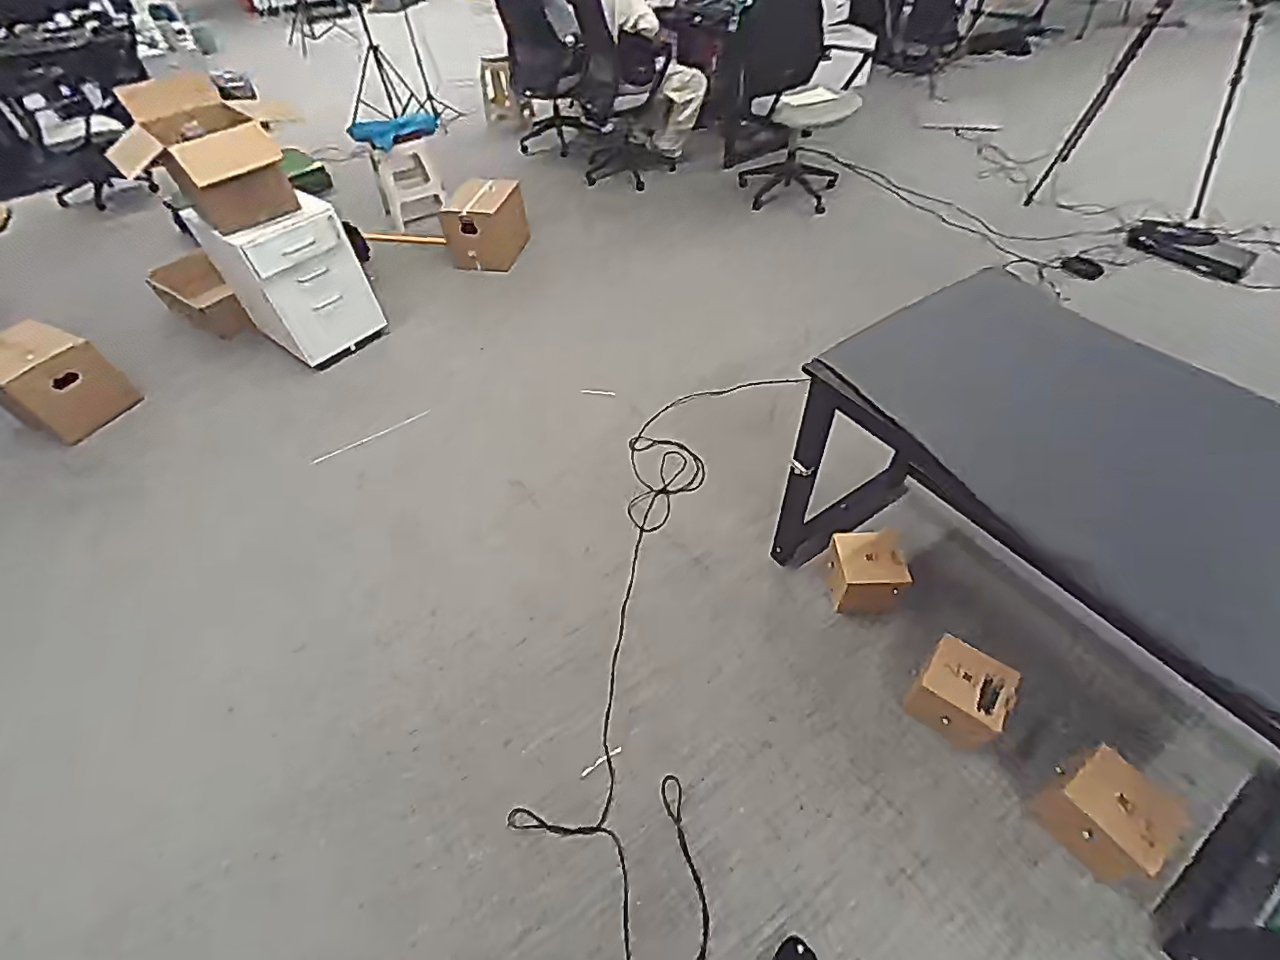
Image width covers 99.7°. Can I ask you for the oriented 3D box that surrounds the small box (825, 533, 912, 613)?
[{"bbox_3d":[0.641,0.269,1.546,0.179,0.176,0.168,-2,49,2],"label":"small box"}]

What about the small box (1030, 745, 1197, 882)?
[{"bbox_3d":[0.978,0.704,1.137,0.168,0.176,0.179,-30,54,-19],"label":"small box"}]
